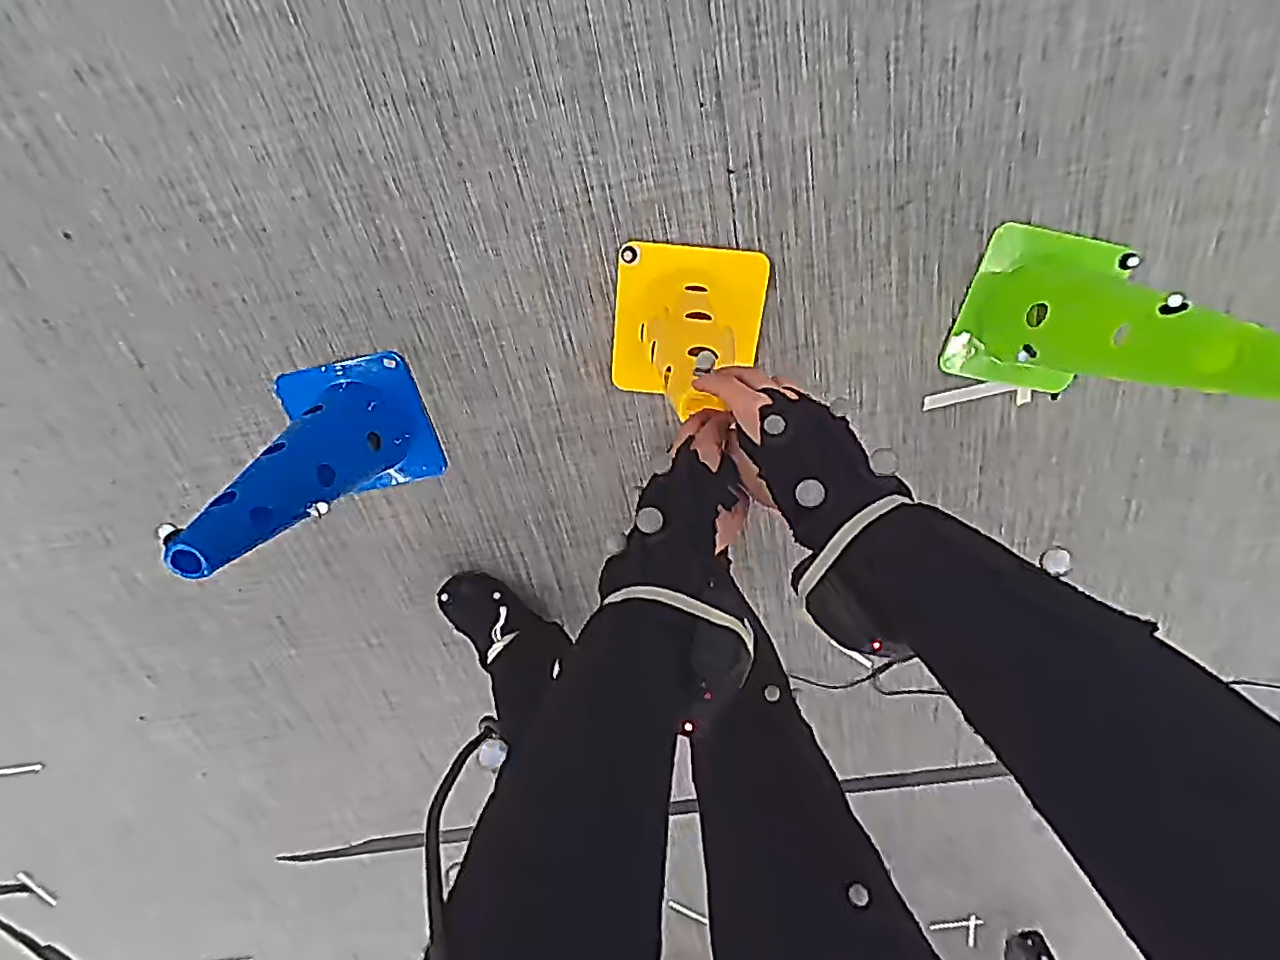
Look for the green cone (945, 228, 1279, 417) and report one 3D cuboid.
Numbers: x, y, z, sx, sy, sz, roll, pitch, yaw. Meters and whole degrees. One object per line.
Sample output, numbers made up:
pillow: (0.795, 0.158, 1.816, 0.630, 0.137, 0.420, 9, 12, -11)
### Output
green cone: (0.540, -0.147, 0.582, 0.200, 0.368, 0.202, 9, 116, -4)
